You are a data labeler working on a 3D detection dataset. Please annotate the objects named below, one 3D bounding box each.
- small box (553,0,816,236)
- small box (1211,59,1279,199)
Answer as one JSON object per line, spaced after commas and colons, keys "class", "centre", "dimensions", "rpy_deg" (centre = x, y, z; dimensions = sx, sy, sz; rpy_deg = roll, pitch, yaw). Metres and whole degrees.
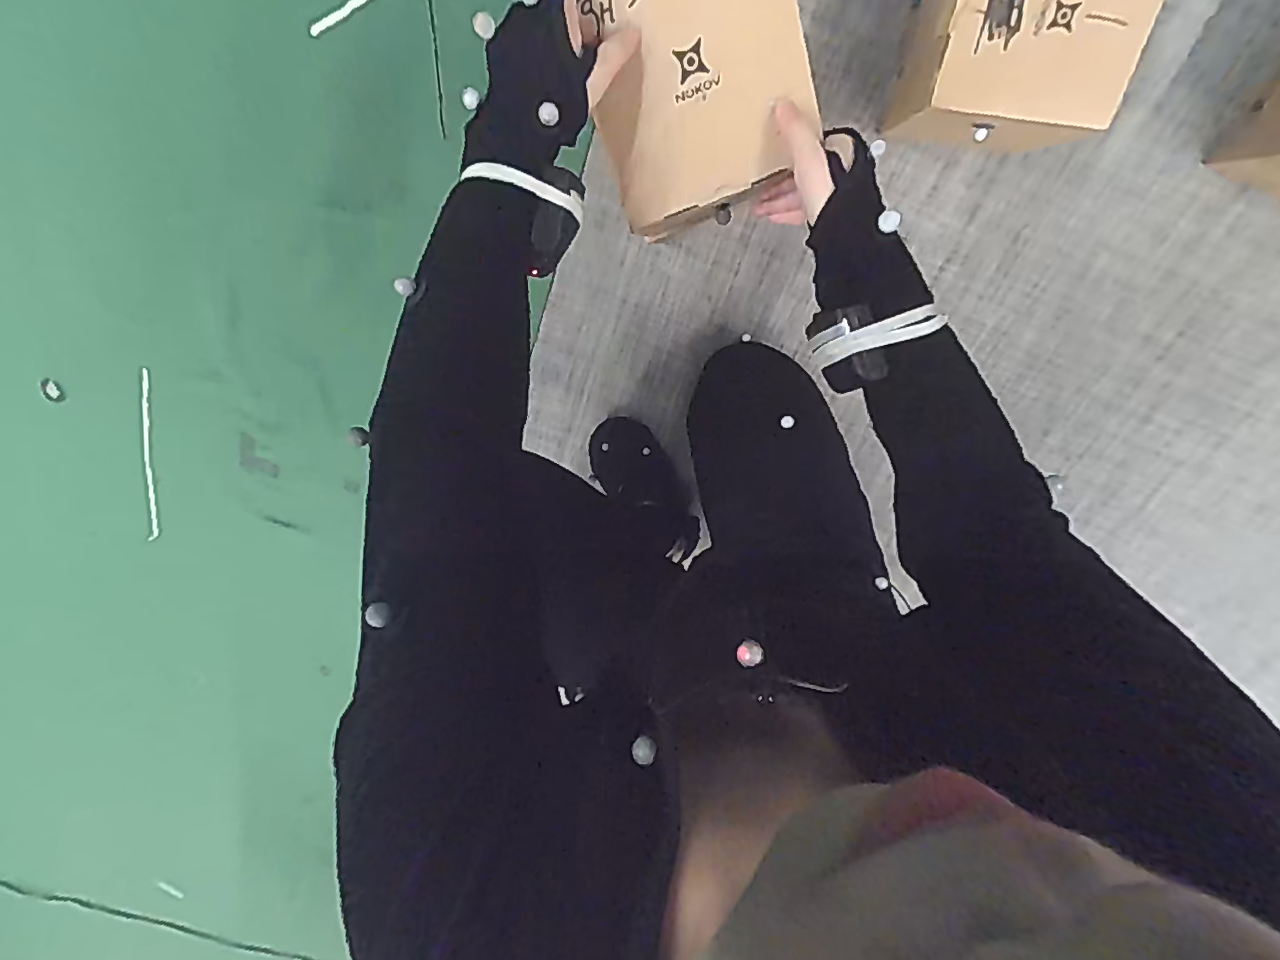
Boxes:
{"class": "small box", "centre": [0.047, -0.337, 0.484], "dimensions": [0.168, 0.176, 0.179], "rpy_deg": [-15, 111, 13]}
{"class": "small box", "centre": [0.774, -0.383, 0.545], "dimensions": [0.179, 0.176, 0.168], "rpy_deg": [21, 115, -2]}
